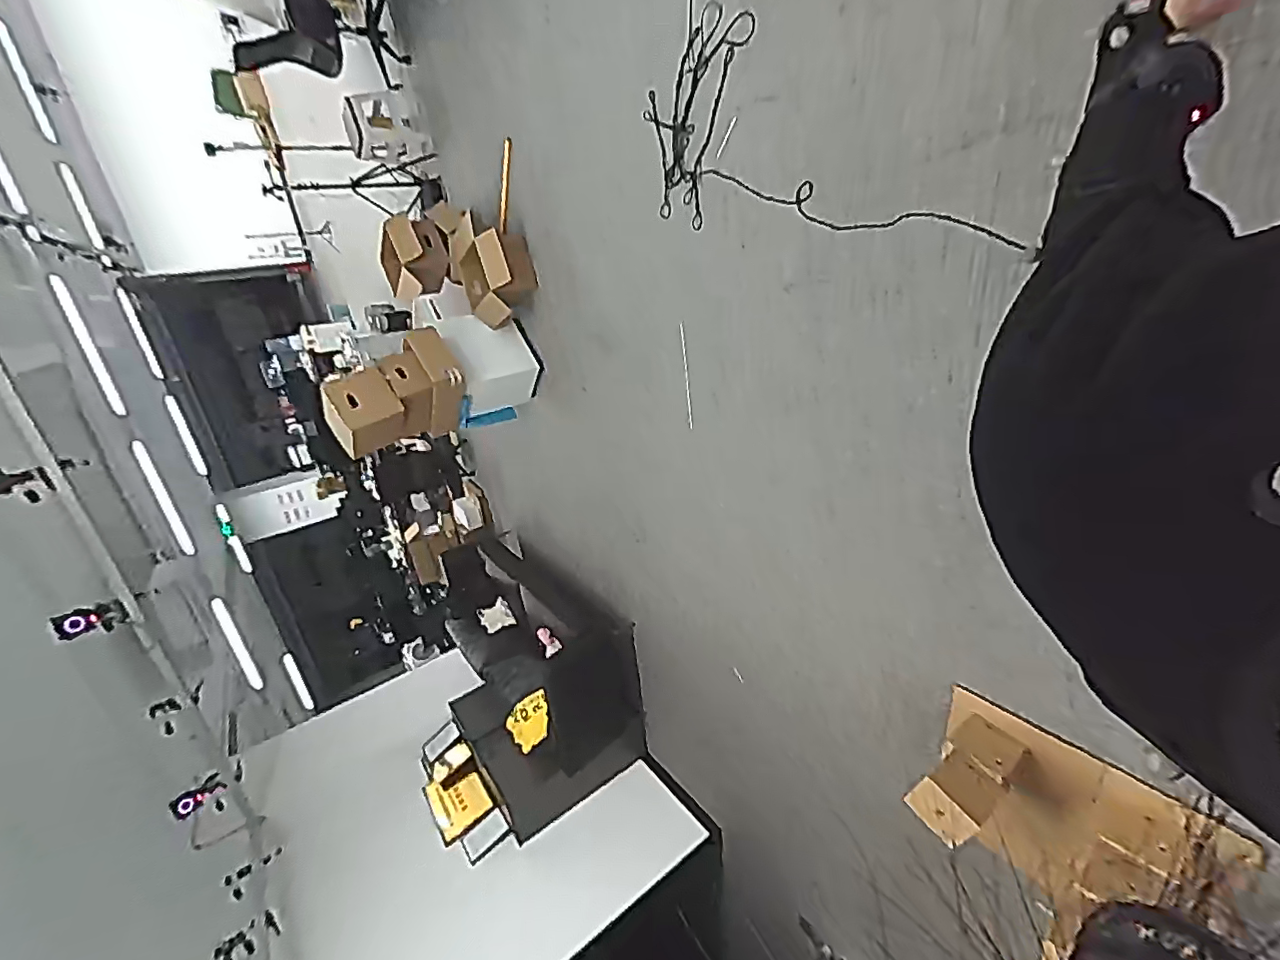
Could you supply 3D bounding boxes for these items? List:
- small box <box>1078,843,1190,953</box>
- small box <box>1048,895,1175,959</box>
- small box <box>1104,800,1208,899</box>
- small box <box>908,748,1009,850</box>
[{"bbox_3d":[1.171,1.029,1.294,0.168,0.176,0.179,22,127,52],"label":"small box"},{"bbox_3d":[1.046,1.094,1.207,0.179,0.176,0.168,20,125,52],"label":"small box"},{"bbox_3d":[1.301,0.970,1.377,0.168,0.176,0.179,20,126,52],"label":"small box"},{"bbox_3d":[0.941,0.938,1.596,0.168,0.176,0.179,44,142,36],"label":"small box"}]
